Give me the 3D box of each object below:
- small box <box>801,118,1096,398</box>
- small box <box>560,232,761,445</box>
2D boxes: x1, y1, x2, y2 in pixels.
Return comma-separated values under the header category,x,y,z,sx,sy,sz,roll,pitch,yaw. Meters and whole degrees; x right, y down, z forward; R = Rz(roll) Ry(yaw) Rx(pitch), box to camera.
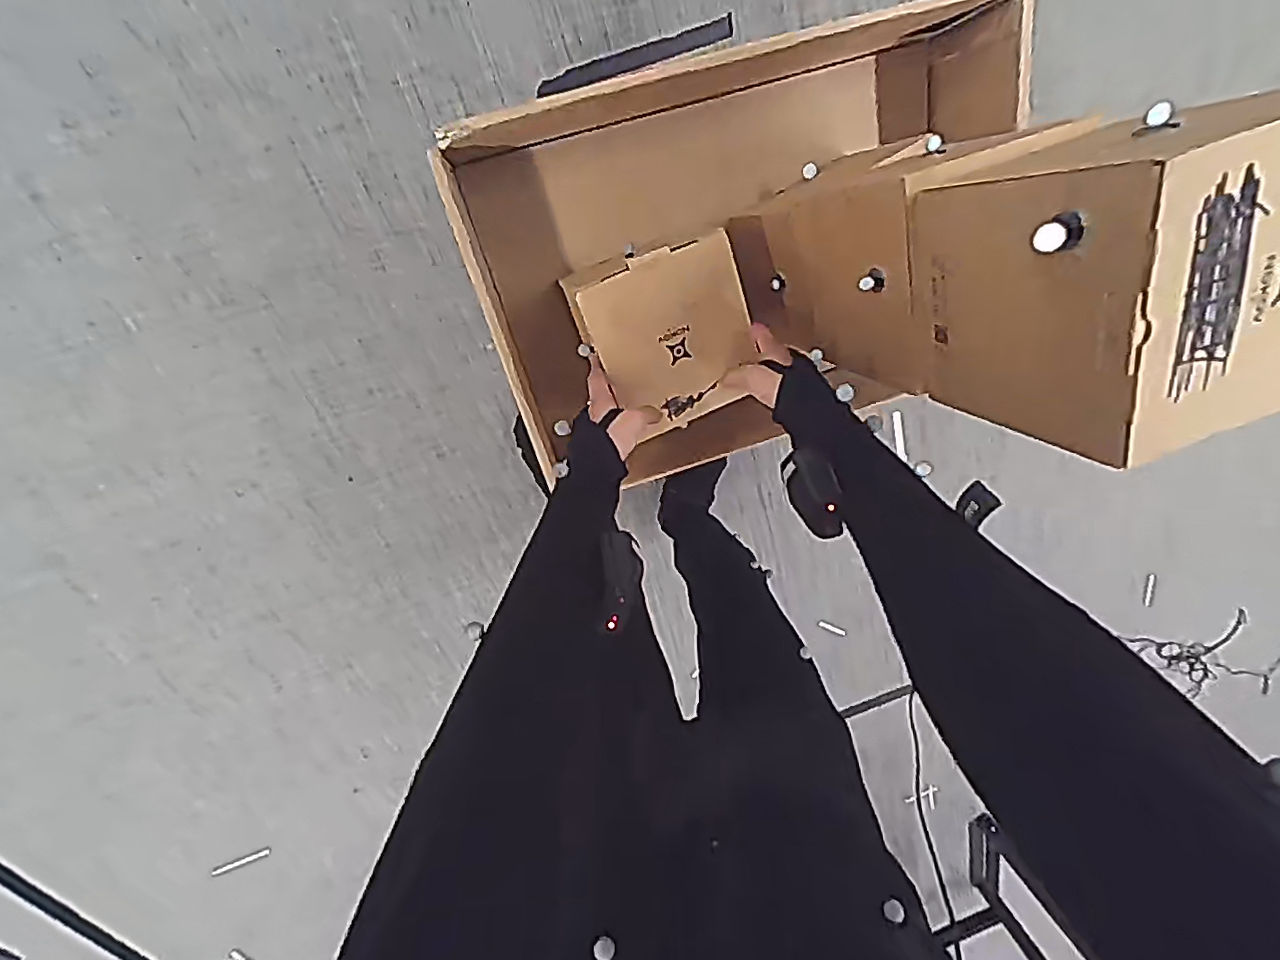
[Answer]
category,x,y,z,sx,sy,sz,roll,pitch,yaw
small box,0.266,-0.200,0.502,0.168,0.176,0.179,-19,117,-3
small box,0.016,-0.170,0.634,0.168,0.176,0.179,-23,116,-3
